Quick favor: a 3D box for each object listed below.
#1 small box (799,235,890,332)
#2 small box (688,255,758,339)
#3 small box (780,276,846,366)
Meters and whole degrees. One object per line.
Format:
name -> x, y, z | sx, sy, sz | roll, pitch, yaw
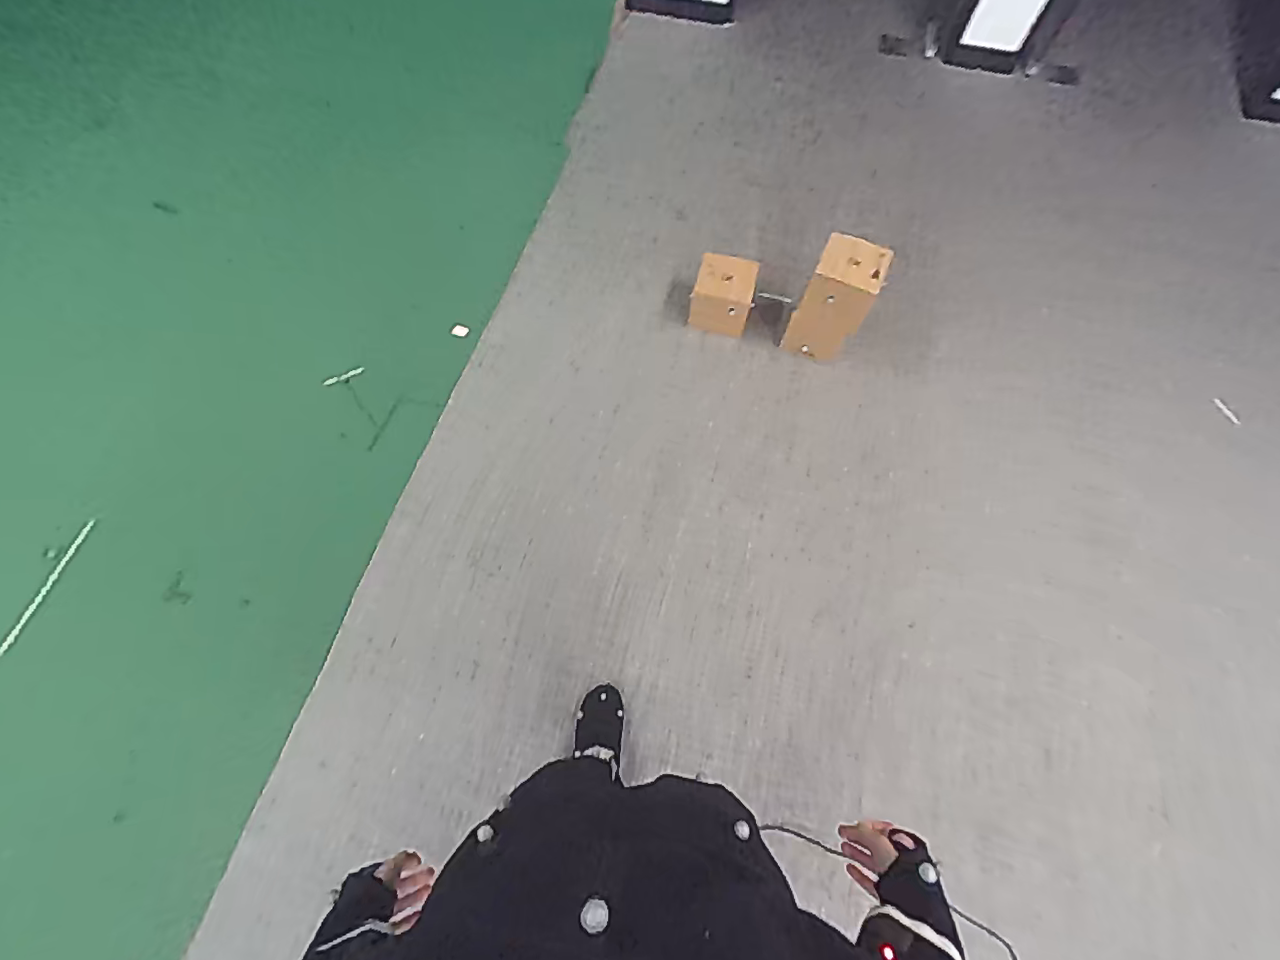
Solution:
small box -> 0.566, -0.545, 1.519 | 0.179, 0.176, 0.168 | 23, 69, 10
small box -> 0.258, -0.571, 1.704 | 0.179, 0.176, 0.168 | 14, 68, 6
small box -> 0.552, -0.490, 1.674 | 0.168, 0.176, 0.179 | 23, 70, 9
